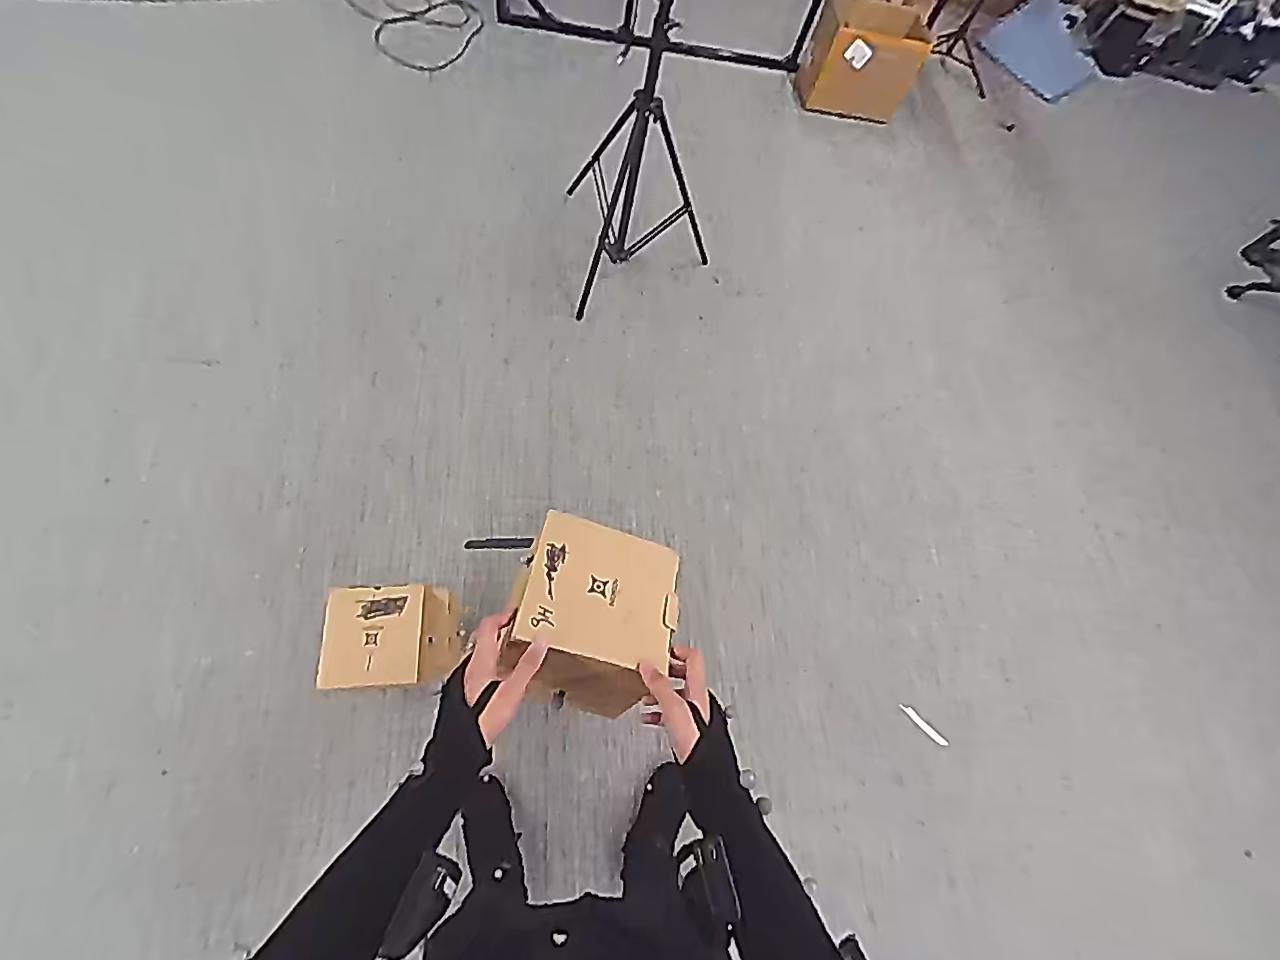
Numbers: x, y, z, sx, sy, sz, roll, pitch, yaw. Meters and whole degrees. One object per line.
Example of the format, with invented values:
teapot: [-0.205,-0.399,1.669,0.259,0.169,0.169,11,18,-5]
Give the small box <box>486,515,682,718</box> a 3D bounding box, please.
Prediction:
small box: [-0.069,0.175,0.663,0.179,0.176,0.168,21,47,-12]

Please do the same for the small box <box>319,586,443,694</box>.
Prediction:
small box: [-0.478,0.307,1.028,0.168,0.176,0.179,0,68,-9]

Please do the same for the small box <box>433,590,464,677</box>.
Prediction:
small box: [-0.491,0.348,1.189,0.179,0.176,0.168,-4,68,-11]
